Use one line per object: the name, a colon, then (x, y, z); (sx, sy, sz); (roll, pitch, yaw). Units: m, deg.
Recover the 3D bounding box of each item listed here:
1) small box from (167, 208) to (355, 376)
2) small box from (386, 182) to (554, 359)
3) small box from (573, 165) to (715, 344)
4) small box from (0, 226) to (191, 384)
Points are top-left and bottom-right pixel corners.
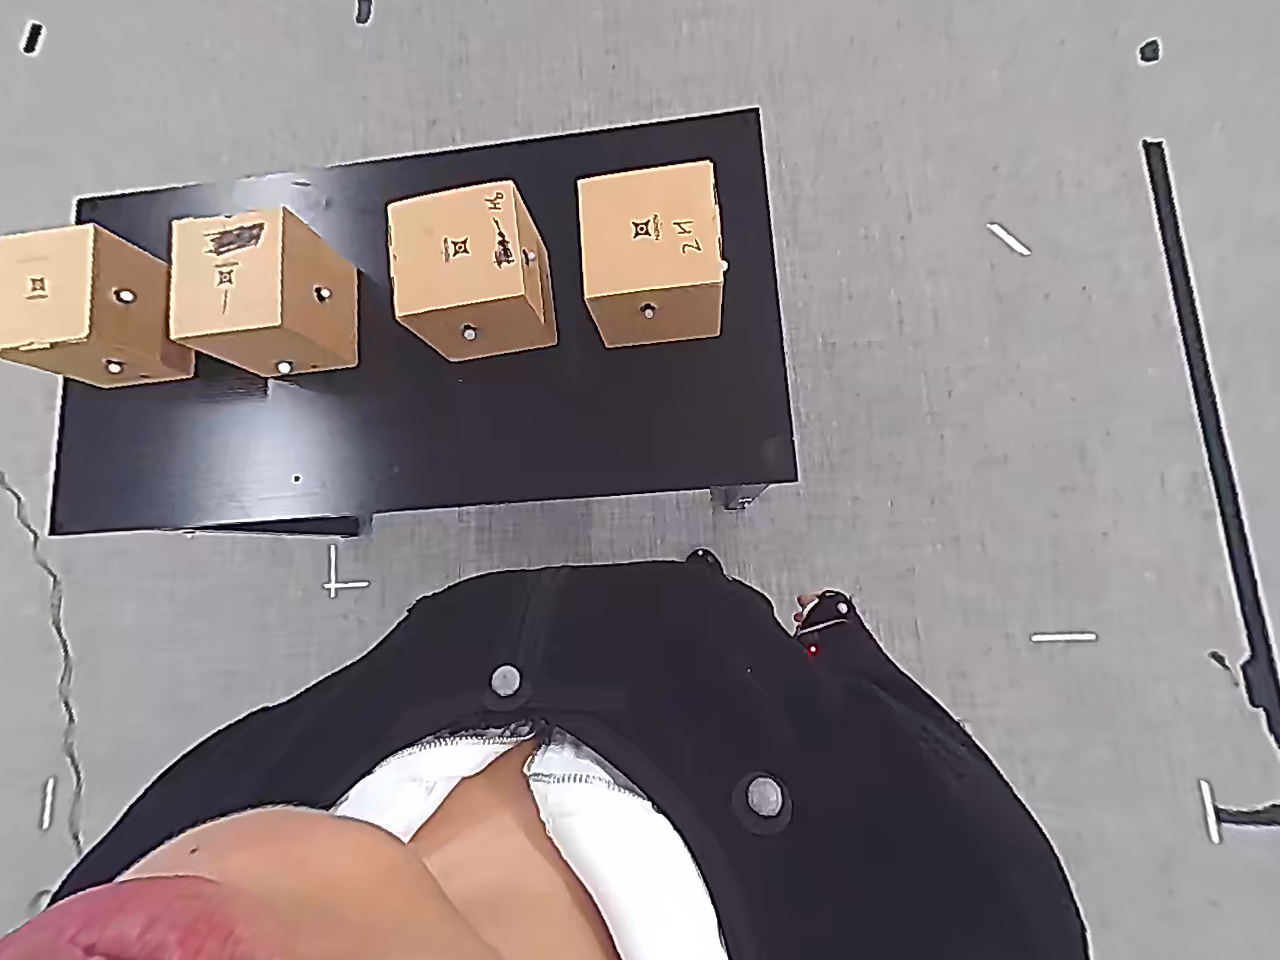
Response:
small box: (-0.554, -0.271, 0.813); (0.168, 0.176, 0.179); (-5, 82, 5)
small box: (-0.238, -0.290, 0.786); (0.179, 0.176, 0.168); (-9, 82, 5)
small box: (0.012, -0.303, 0.762); (0.179, 0.176, 0.168); (-5, 82, 5)
small box: (-0.840, -0.257, 0.838); (0.168, 0.176, 0.179); (-6, 81, 3)
